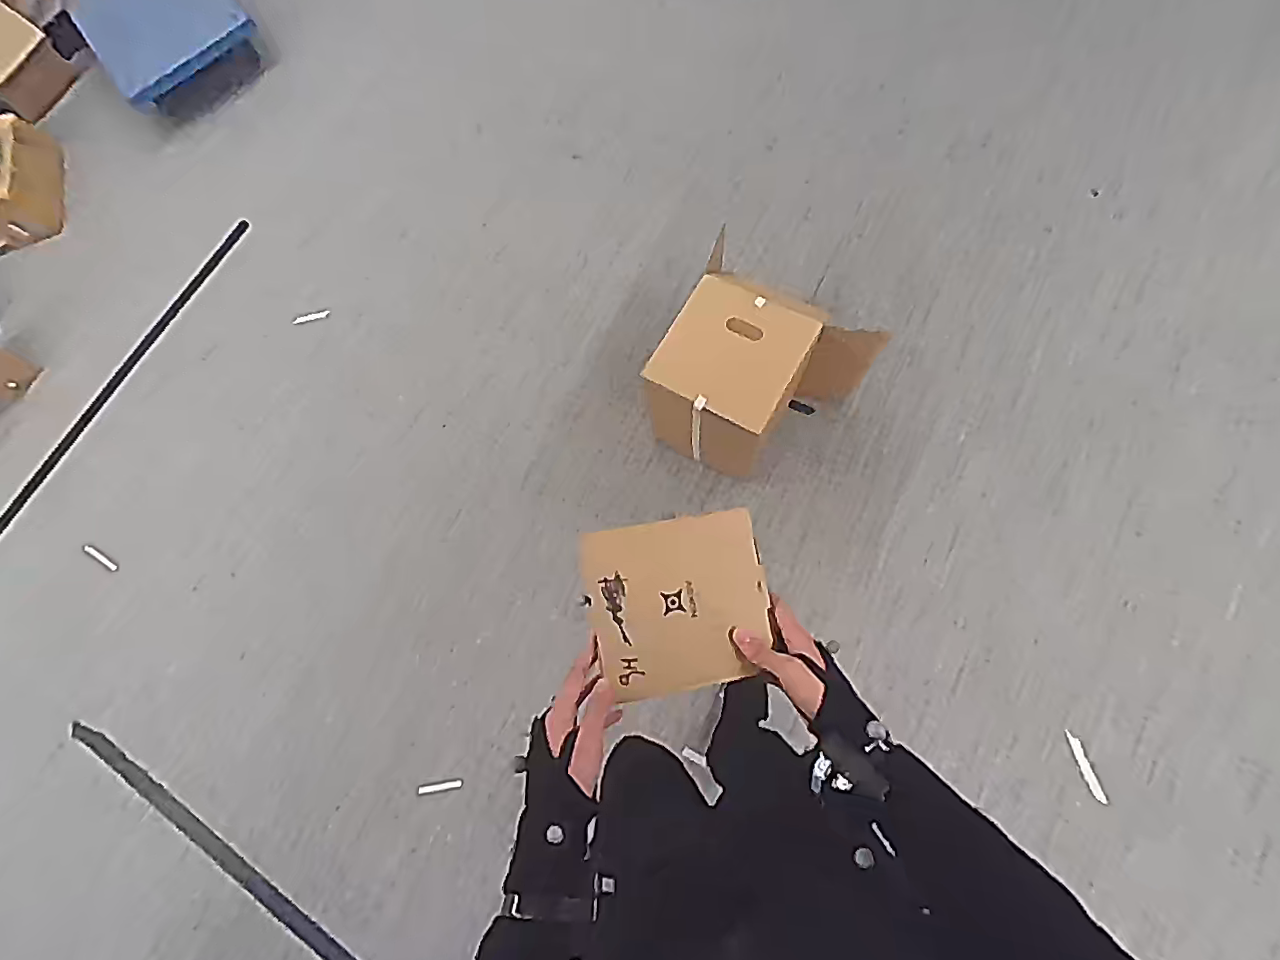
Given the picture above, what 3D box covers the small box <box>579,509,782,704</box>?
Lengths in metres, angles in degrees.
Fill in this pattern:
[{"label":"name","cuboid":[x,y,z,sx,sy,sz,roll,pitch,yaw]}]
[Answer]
[{"label":"small box","cuboid":[0.031,0.130,0.603,0.179,0.176,0.168,-9,82,-9]}]
